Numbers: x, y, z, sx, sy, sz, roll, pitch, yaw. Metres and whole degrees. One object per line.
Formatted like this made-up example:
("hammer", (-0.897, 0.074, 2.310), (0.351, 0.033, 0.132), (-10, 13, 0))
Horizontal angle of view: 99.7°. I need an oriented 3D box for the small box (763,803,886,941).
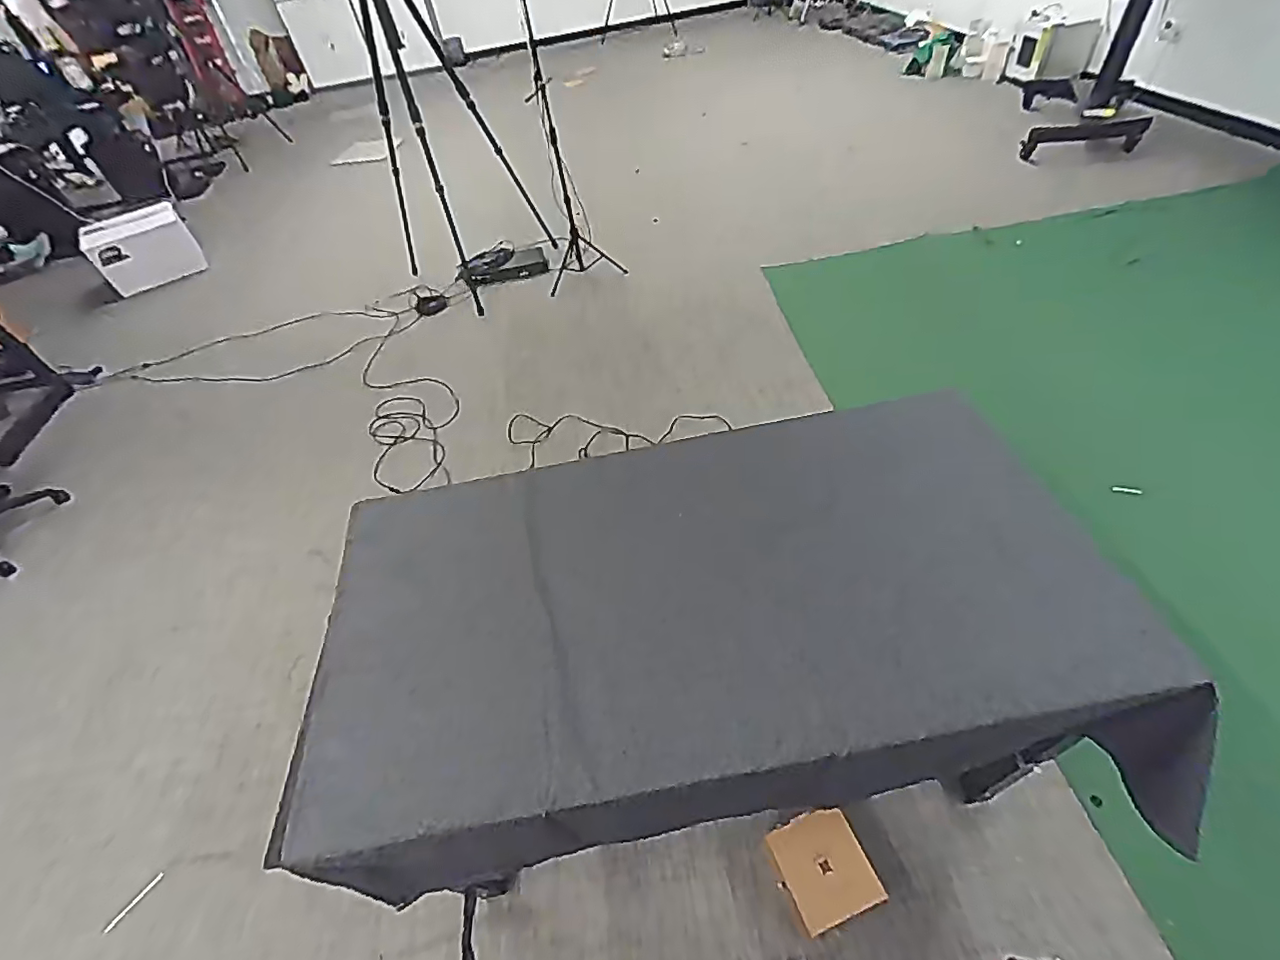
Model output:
("small box", (0.365, 0.806, 1.111), (0.168, 0.176, 0.179), (-20, 48, -8))
